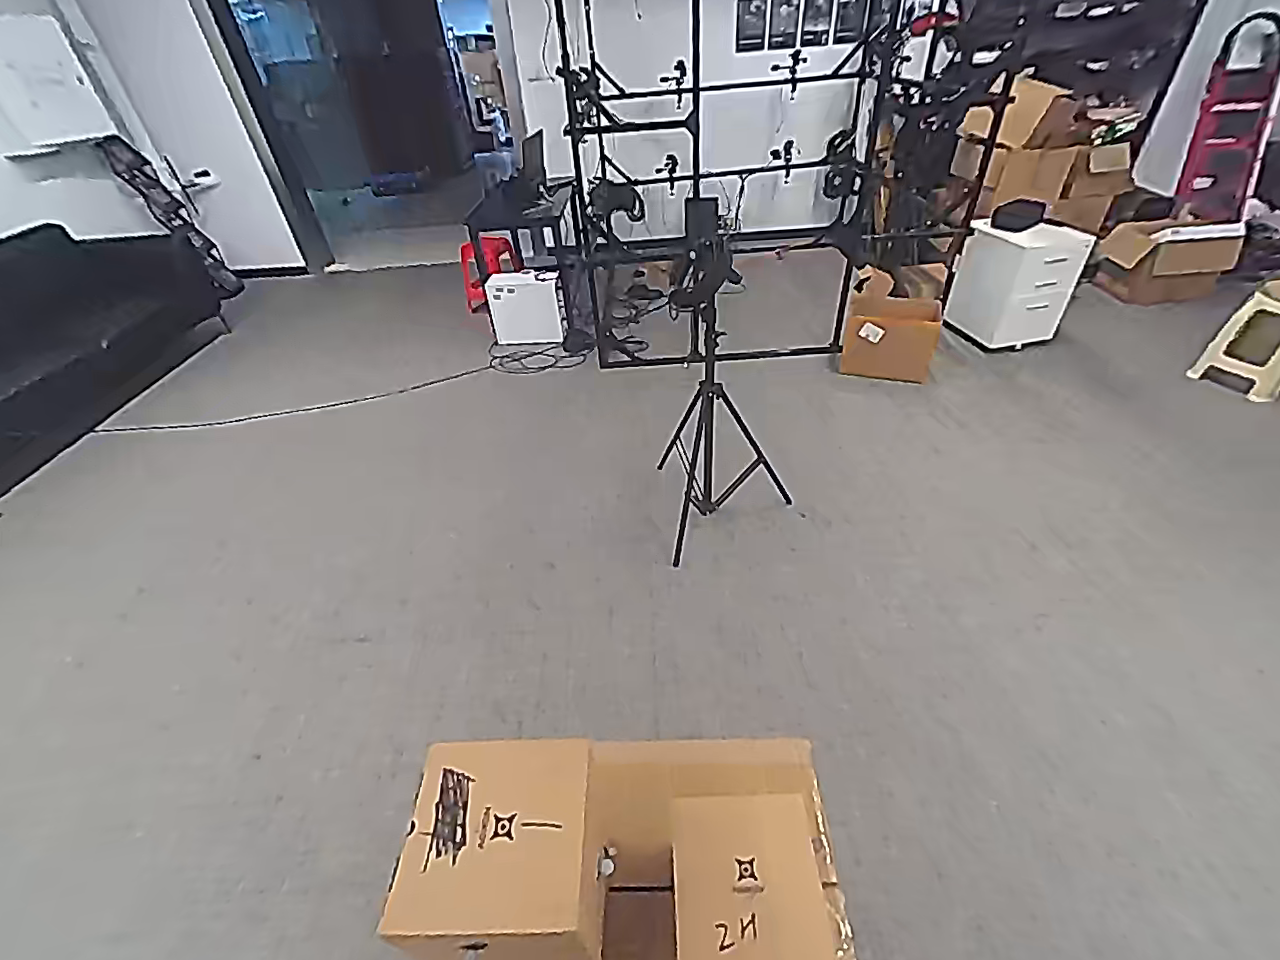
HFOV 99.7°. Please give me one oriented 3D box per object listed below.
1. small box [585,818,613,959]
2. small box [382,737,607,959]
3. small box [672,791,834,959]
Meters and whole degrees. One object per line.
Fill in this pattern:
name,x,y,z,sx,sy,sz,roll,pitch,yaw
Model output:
small box,-0.126,0.522,0.685,0.168,0.176,0.179,-3,41,3
small box,-0.135,0.397,0.578,0.179,0.176,0.168,-3,40,2
small box,0.126,0.511,0.666,0.168,0.176,0.179,-4,40,4
